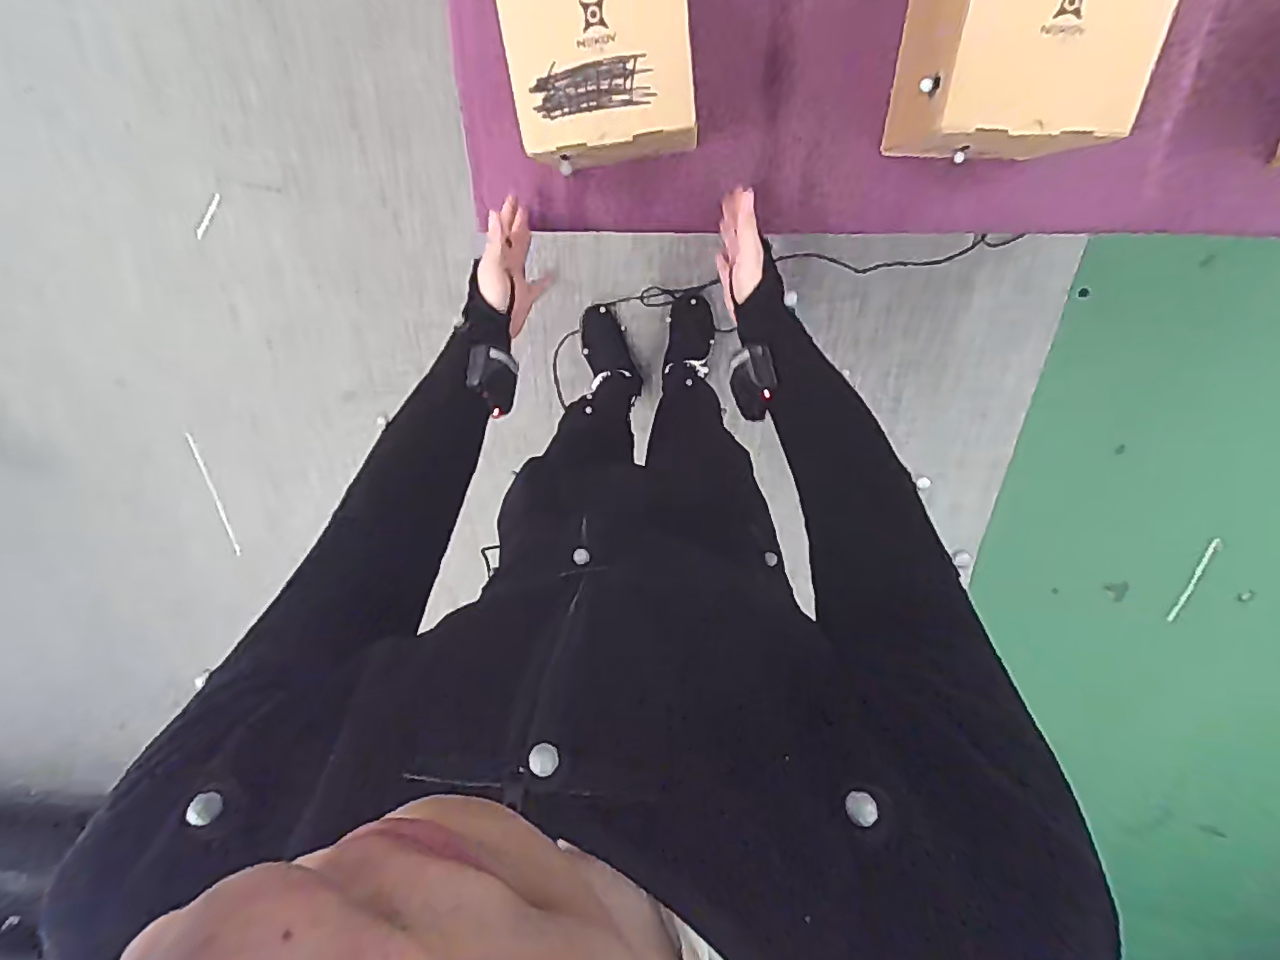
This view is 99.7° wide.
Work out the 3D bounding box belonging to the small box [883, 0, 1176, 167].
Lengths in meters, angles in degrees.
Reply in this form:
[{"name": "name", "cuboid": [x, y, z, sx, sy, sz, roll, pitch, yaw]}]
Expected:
[{"name": "small box", "cuboid": [0.360, -0.414, 0.526, 0.168, 0.176, 0.179, 3, 117, 2]}]
